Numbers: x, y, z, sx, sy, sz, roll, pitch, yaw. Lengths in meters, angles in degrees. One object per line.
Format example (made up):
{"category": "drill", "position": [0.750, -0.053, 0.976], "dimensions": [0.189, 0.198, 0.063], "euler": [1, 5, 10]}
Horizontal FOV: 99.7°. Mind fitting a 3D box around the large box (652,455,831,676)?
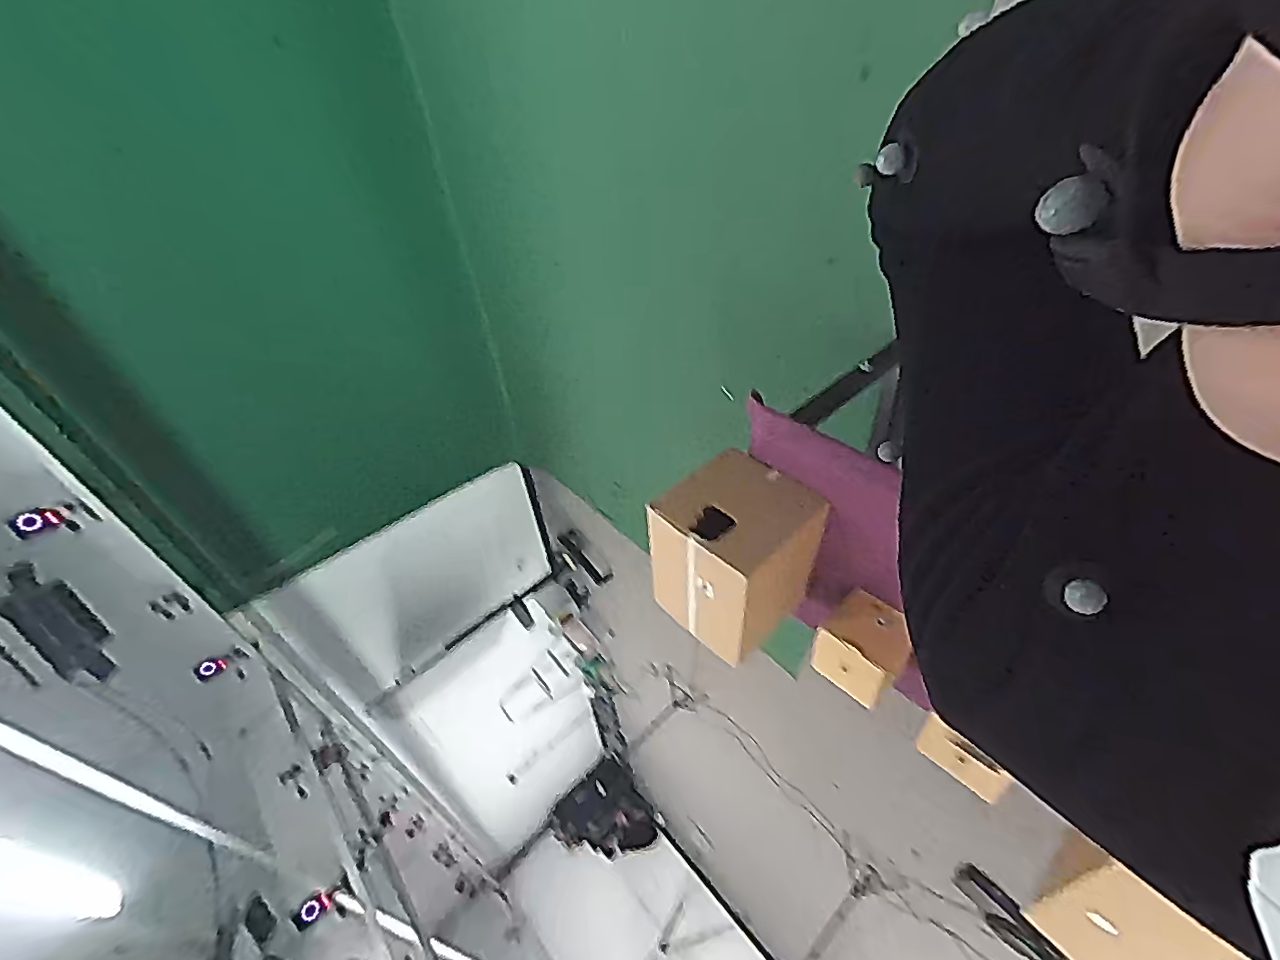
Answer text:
{"category": "large box", "position": [0.254, 0.215, 1.408], "dimensions": [0.320, 0.320, 0.408], "euler": [33, 144, 35]}
